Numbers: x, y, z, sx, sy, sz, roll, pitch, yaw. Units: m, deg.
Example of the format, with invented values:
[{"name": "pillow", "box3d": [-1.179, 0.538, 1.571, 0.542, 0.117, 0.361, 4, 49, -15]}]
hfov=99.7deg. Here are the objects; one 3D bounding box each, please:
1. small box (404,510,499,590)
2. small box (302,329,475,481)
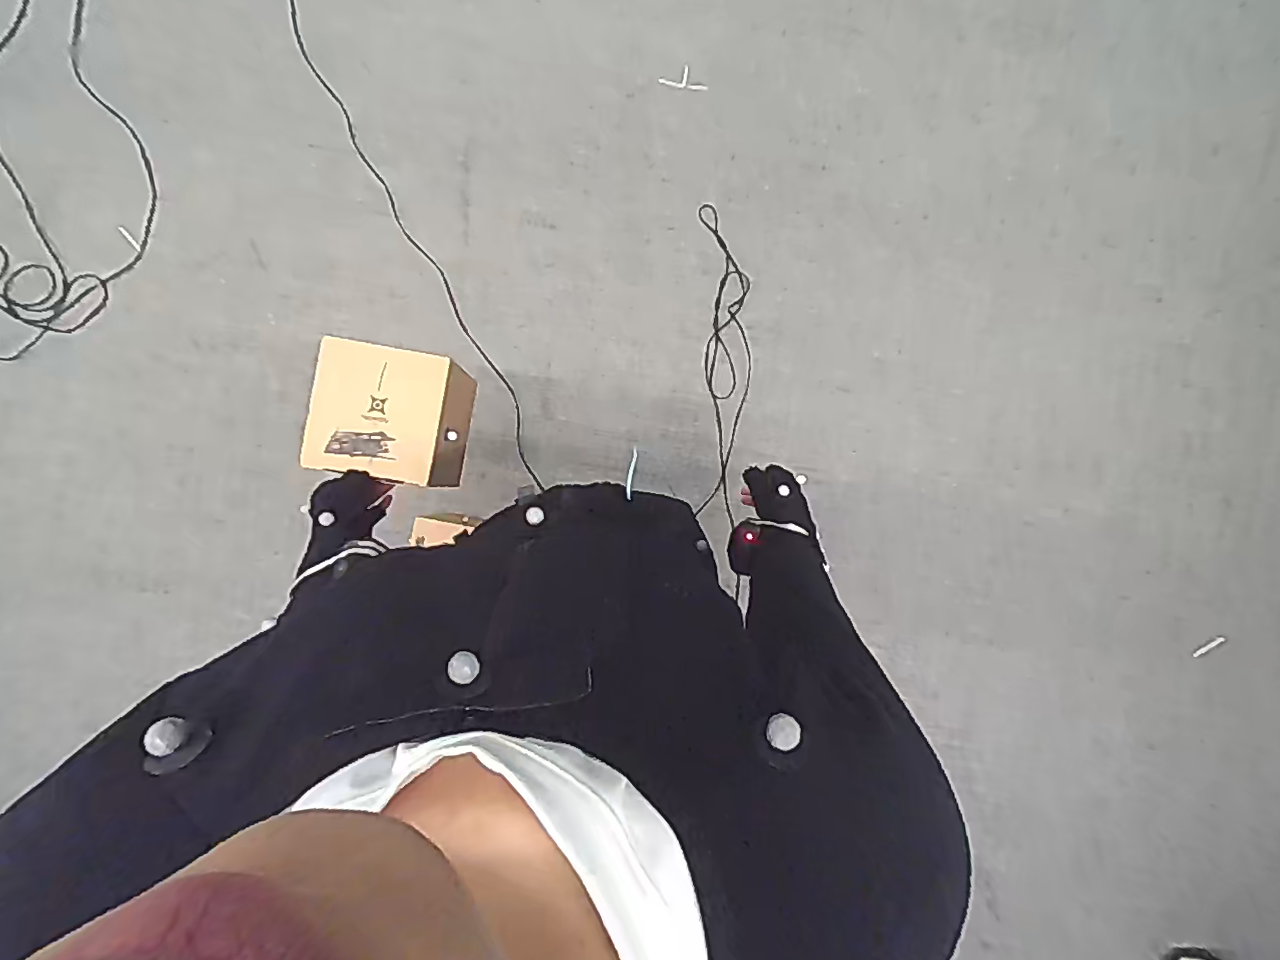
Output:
[{"name": "small box", "box3d": [-0.476, 0.173, 1.394, 0.179, 0.176, 0.168, 11, 90, -1]}, {"name": "small box", "box3d": [-0.349, -0.097, 0.784, 0.168, 0.176, 0.179, 10, 88, -5]}]
